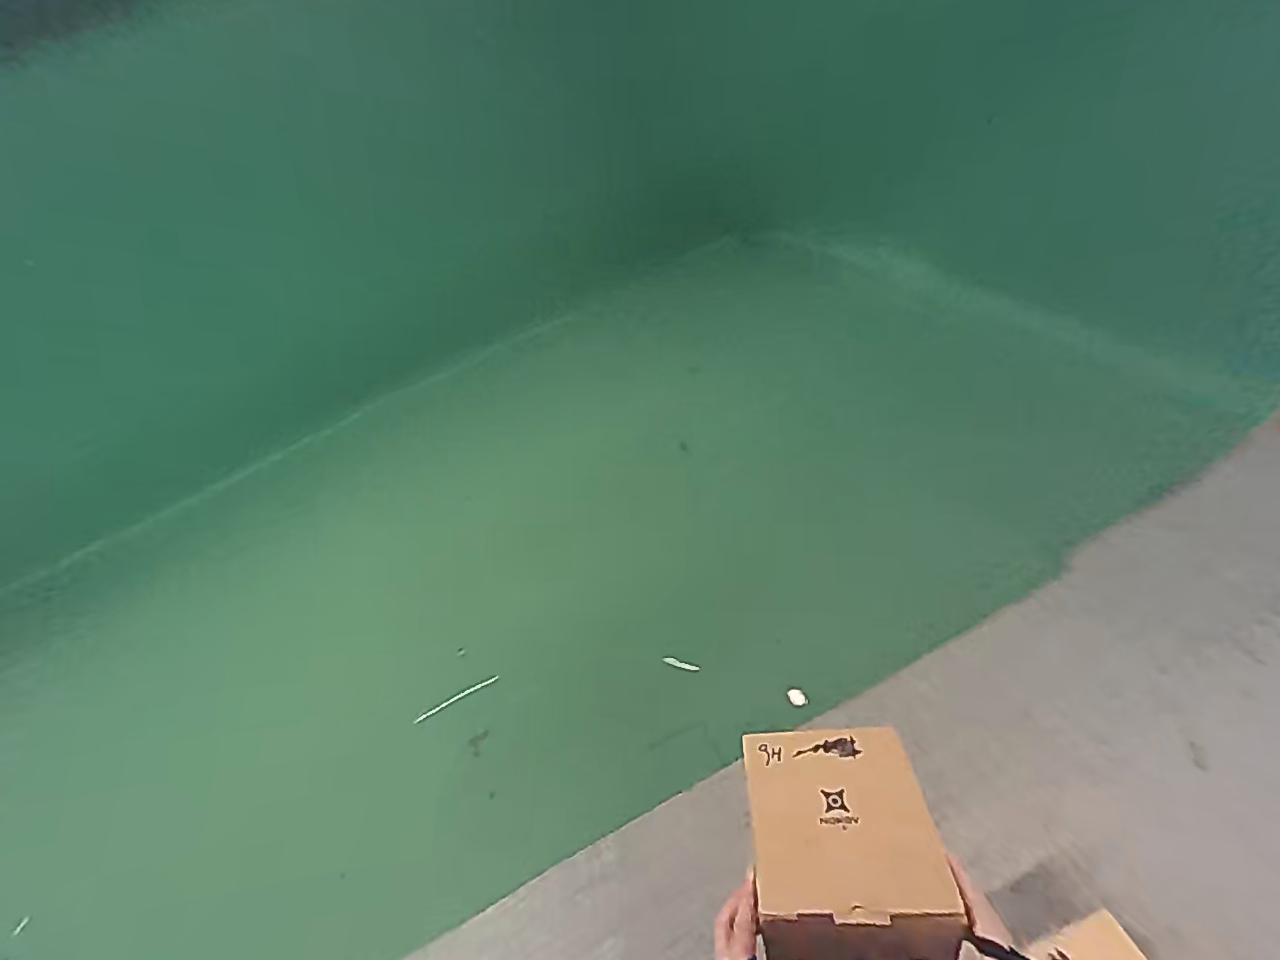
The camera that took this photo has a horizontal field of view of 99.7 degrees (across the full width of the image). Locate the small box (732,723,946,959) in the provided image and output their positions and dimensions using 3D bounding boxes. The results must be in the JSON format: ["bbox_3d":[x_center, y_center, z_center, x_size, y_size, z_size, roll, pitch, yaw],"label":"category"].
[{"bbox_3d":[0.192,0.385,0.558,0.168,0.176,0.179,-8,28,8],"label":"small box"}]
